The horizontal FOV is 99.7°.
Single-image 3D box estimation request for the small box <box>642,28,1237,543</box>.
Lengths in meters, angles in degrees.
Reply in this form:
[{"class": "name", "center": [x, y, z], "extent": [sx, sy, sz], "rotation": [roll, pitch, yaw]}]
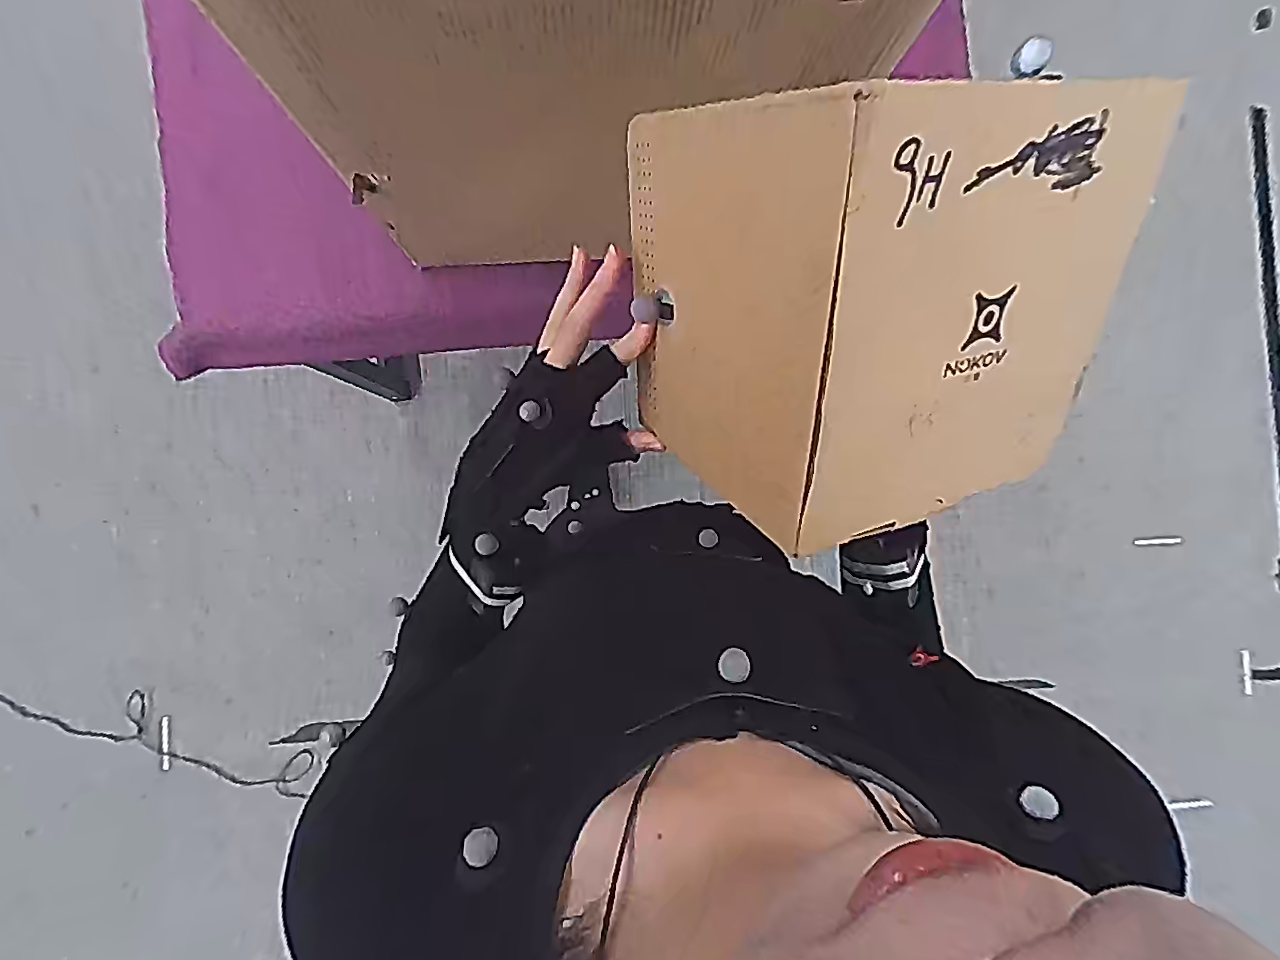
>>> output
[{"class": "small box", "center": [0.108, -0.102, 0.274], "extent": [0.168, 0.176, 0.179], "rotation": [-15, 125, -20]}]
